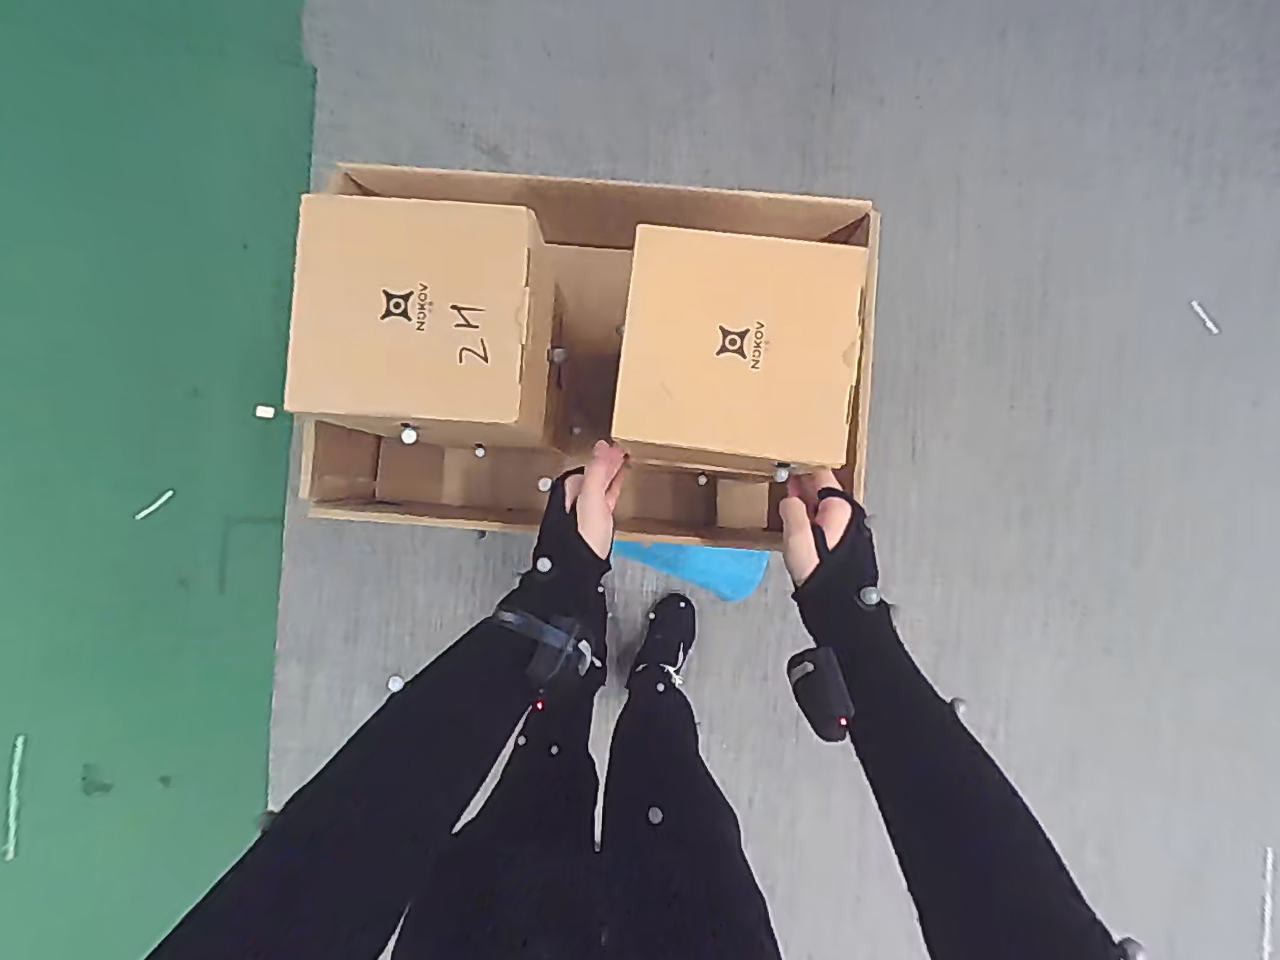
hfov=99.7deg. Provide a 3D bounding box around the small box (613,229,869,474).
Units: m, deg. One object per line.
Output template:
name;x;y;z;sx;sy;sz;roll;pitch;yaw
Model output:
small box;0.078;-0.097;0.483;0.179;0.176;0.168;7;89;2

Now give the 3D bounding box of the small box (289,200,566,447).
small box;-0.170;-0.122;0.485;0.179;0.176;0.168;4;88;0
